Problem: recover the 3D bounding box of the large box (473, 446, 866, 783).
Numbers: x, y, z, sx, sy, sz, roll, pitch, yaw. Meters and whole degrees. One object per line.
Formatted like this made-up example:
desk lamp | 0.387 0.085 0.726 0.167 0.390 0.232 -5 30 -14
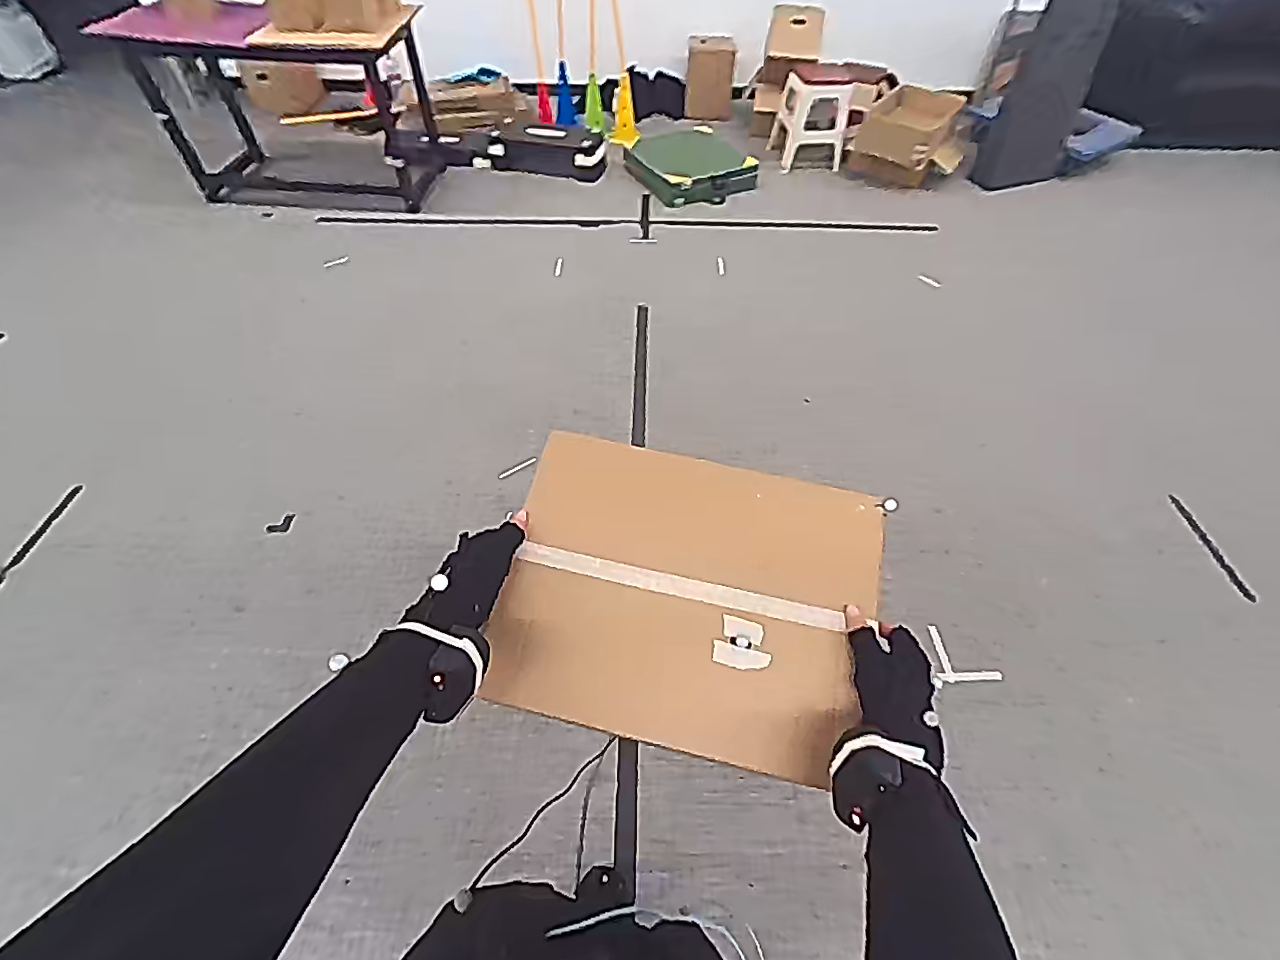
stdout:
large box | 0.045 0.189 0.741 0.408 0.320 0.320 12 66 5
